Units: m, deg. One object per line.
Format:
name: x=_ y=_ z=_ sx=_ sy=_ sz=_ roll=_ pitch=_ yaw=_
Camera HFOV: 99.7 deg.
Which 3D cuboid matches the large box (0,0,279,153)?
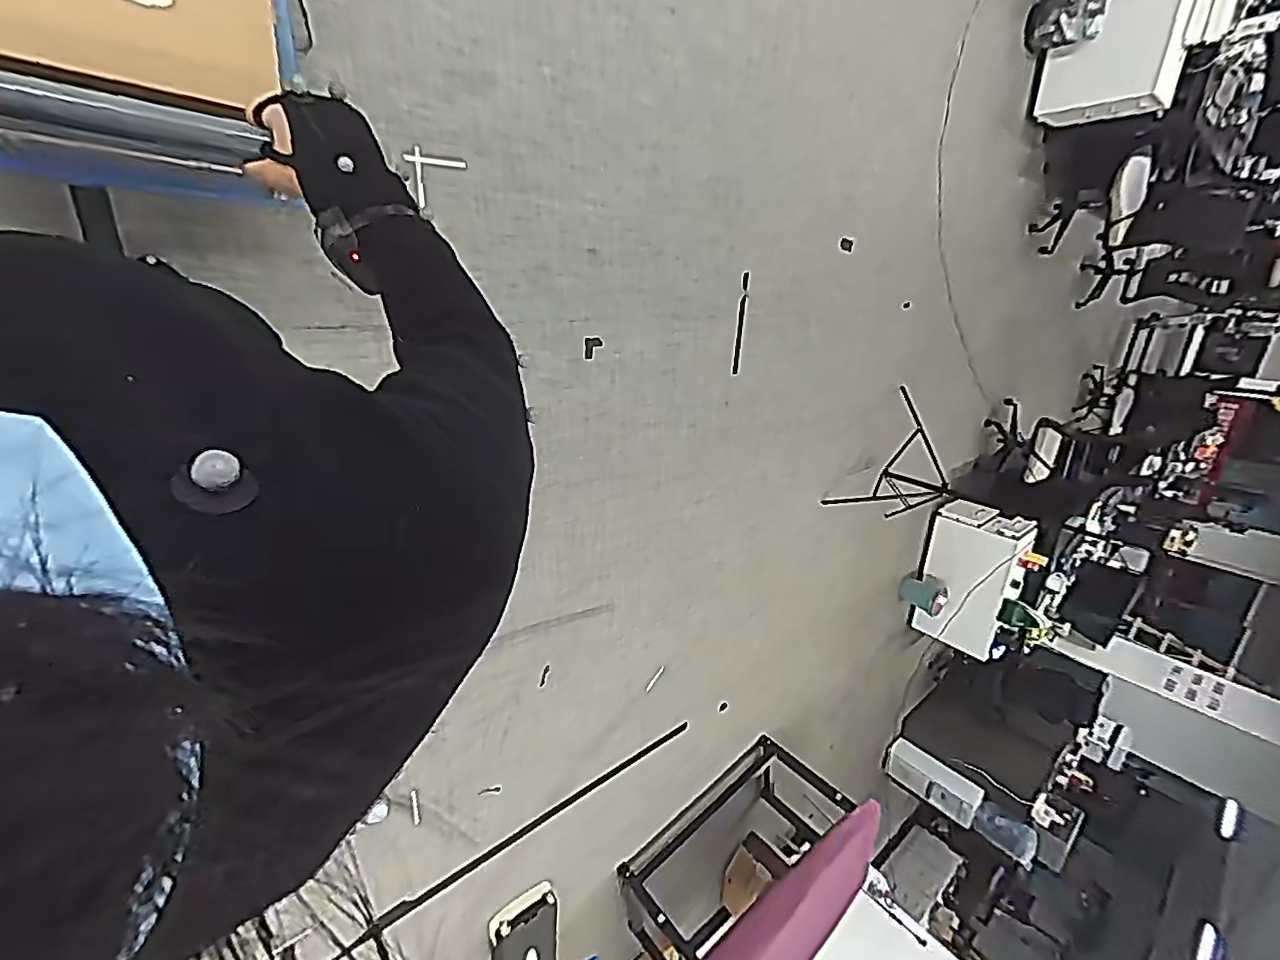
large box: x=-0.751 y=-0.658 z=0.699 sx=0.408 sy=0.320 sz=0.320 roll=-12 pitch=115 yaw=-40
